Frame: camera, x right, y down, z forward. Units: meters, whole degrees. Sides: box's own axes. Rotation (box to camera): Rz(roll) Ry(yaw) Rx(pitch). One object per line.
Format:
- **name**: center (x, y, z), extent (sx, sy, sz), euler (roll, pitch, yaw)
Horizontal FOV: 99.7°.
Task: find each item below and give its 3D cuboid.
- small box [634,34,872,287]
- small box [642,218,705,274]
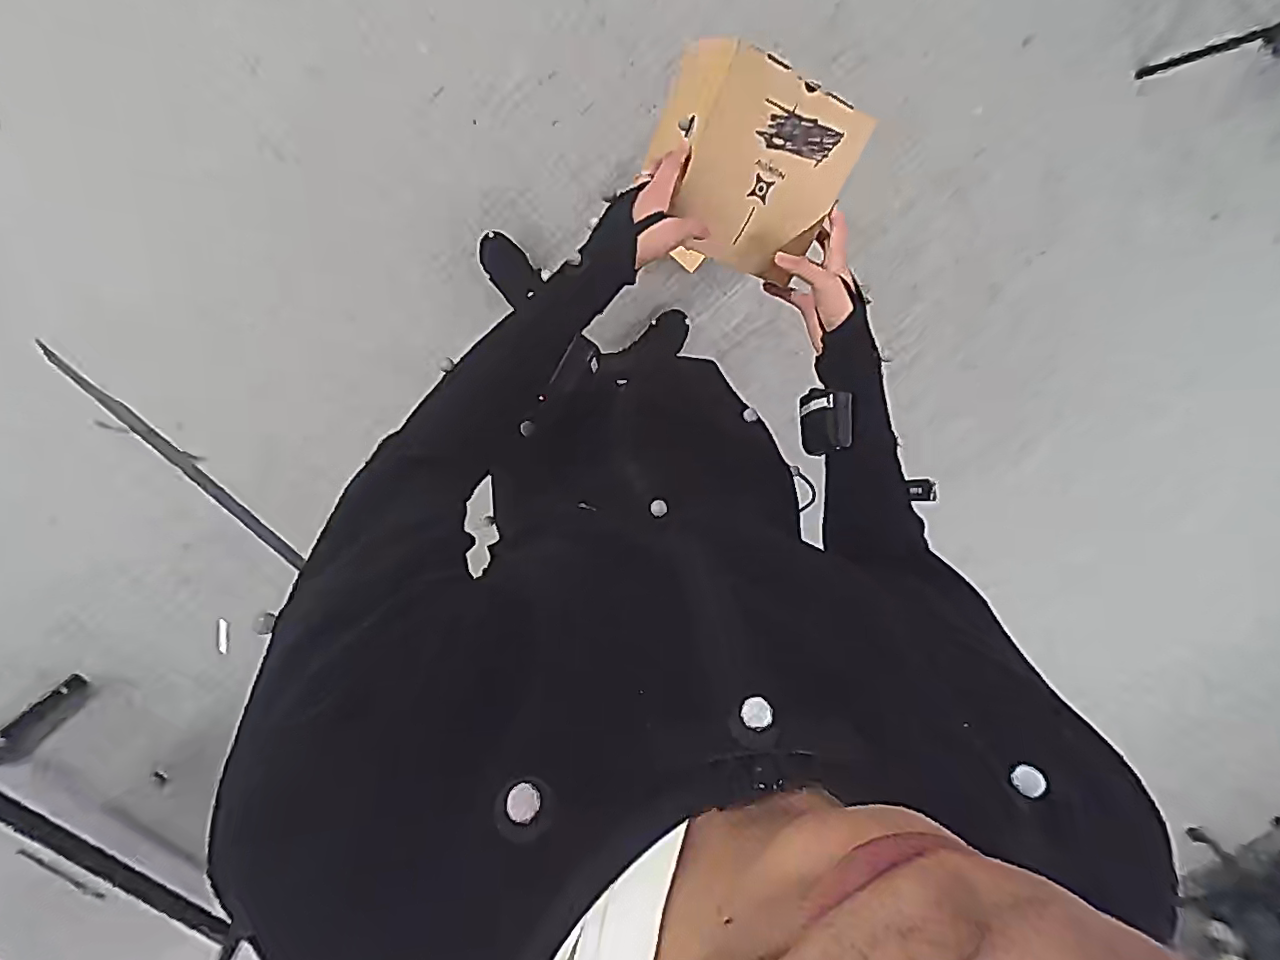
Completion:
- **small box**: center (0.105, -0.346, 0.595), extent (0.168, 0.176, 0.179), euler (12, 123, -22)
- **small box**: center (0.115, -0.637, 1.339), extent (0.168, 0.176, 0.179), euler (39, 105, -14)
